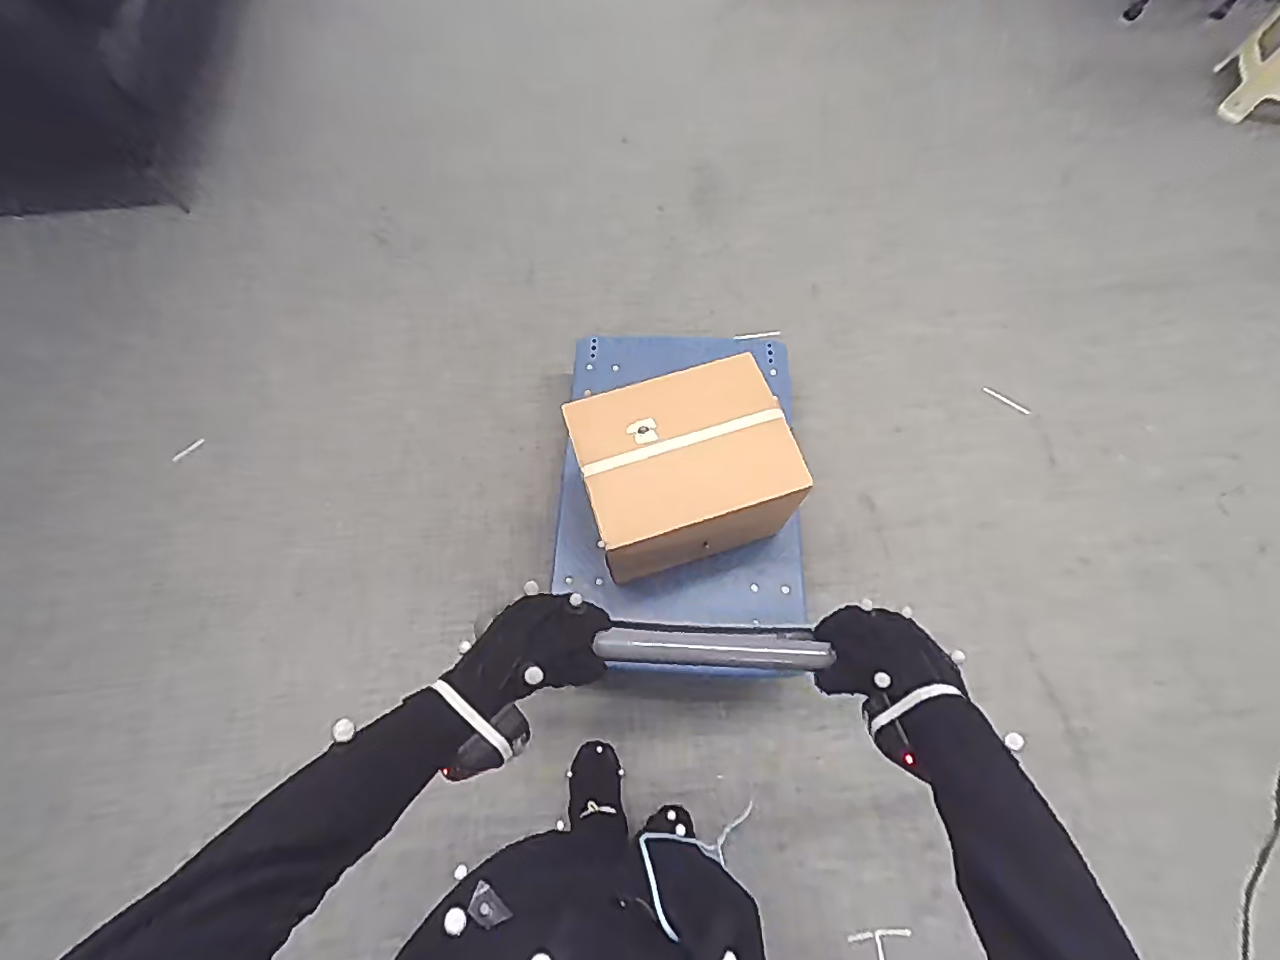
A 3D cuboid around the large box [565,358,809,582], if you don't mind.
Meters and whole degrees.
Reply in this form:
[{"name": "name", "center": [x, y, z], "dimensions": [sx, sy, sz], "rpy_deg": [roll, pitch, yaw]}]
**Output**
[{"name": "large box", "center": [0.088, -0.006, 1.179], "dimensions": [0.408, 0.320, 0.320], "rpy_deg": [-17, 68, -5]}]
